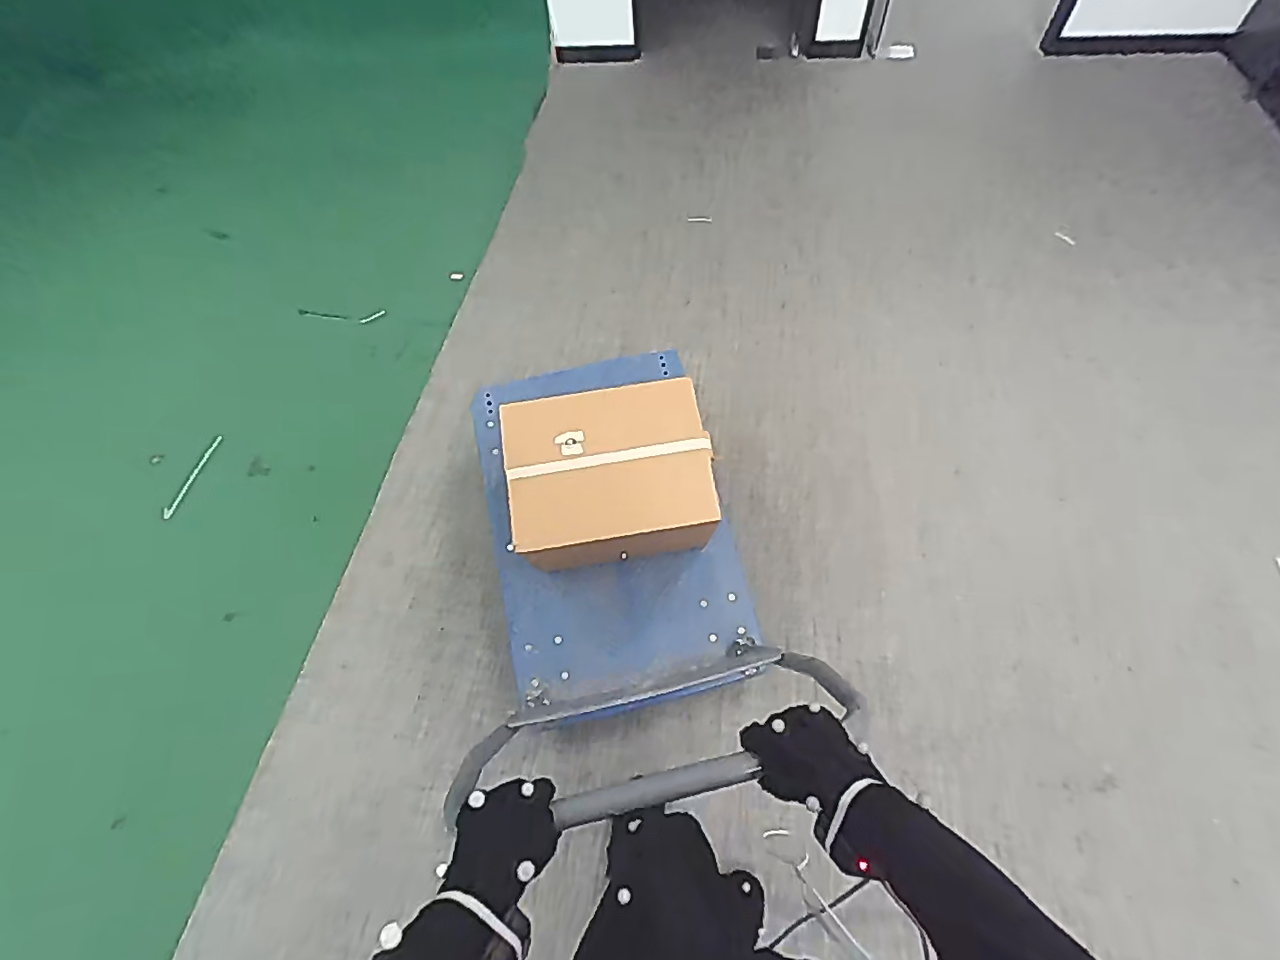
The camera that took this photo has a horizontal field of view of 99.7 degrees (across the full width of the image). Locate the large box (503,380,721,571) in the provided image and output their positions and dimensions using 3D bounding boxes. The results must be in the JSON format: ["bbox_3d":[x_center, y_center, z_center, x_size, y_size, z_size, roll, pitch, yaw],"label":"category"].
[{"bbox_3d":[-0.057,0.009,1.218,0.408,0.320,0.320,-9,73,-1],"label":"large box"}]
